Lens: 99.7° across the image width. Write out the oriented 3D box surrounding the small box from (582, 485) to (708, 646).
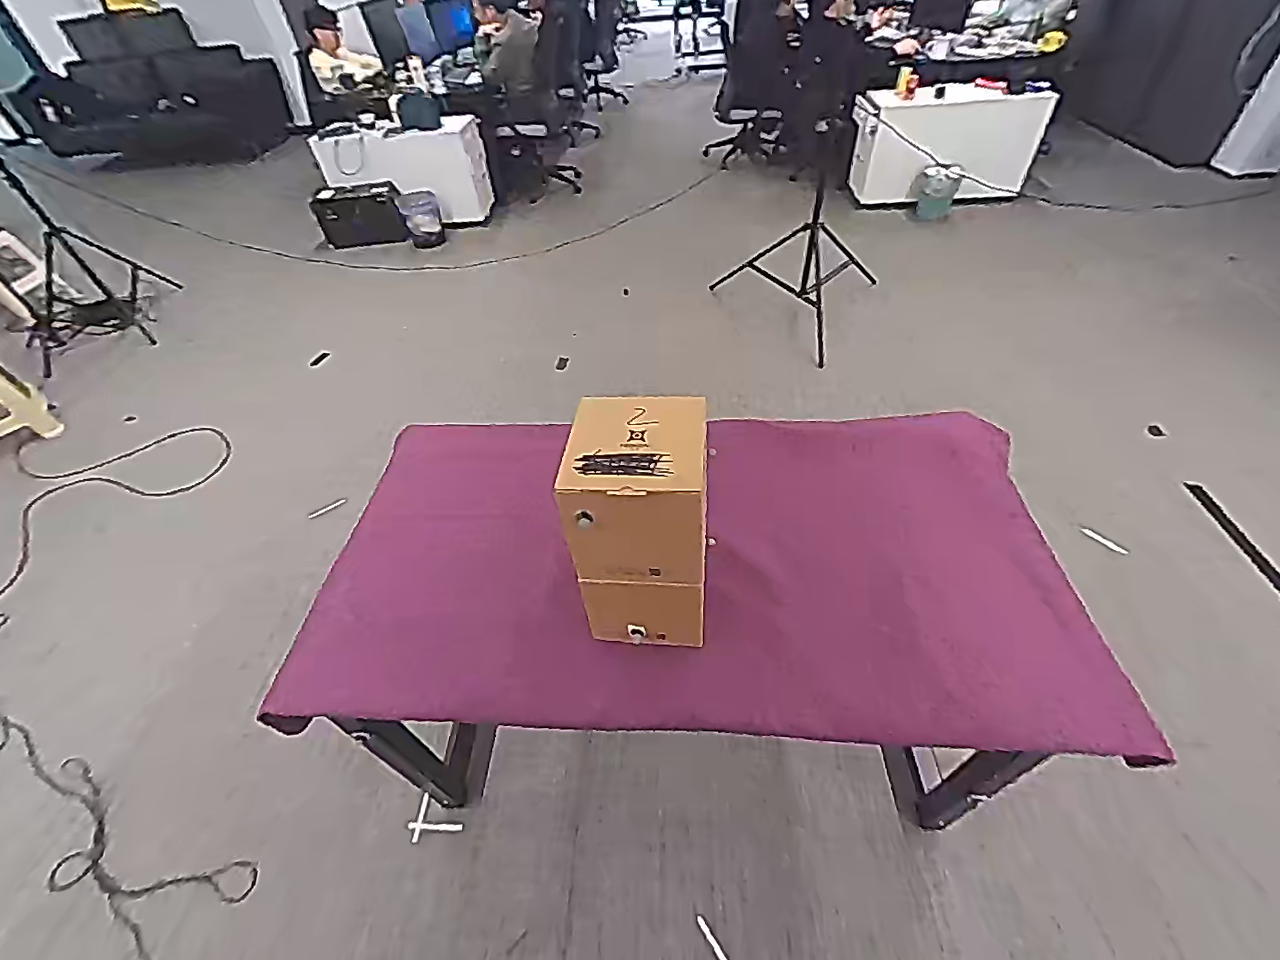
[{"bbox_3d":[0.016,0.127,0.819,0.168,0.176,0.179,1,46,7],"label":"small box"}]
